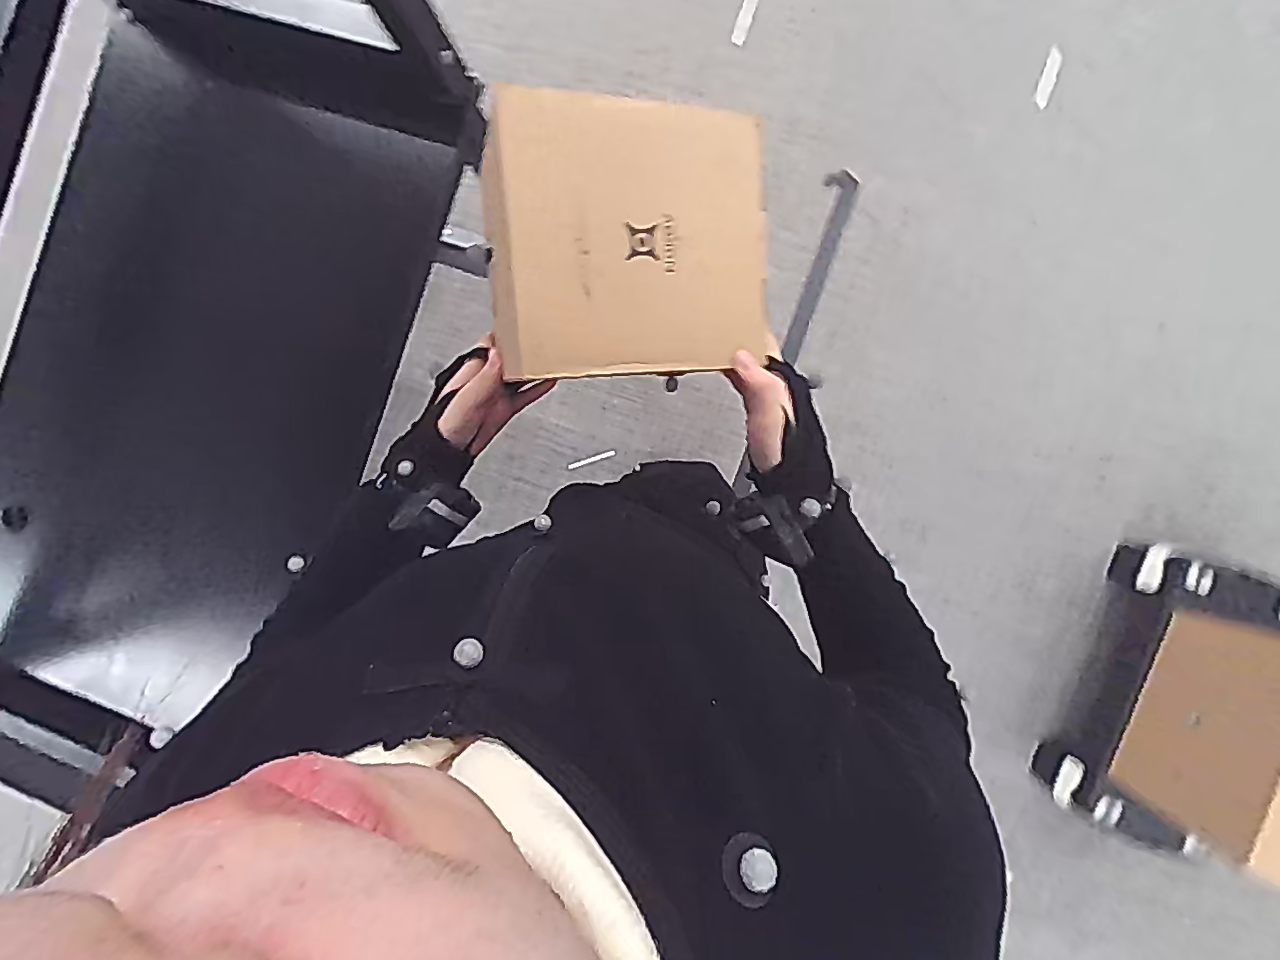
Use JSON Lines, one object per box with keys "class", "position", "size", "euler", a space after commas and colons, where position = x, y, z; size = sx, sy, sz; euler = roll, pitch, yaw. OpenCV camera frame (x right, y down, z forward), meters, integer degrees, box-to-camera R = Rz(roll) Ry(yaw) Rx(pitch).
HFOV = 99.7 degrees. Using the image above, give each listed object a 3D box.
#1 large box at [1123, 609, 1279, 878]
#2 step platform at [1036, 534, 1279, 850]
{"class": "large box", "position": [1.249, 0.514, 1.029], "size": [0.320, 0.320, 0.408], "euler": [20, 91, 5]}
{"class": "step platform", "position": [1.257, 0.479, 1.269], "size": [0.286, 0.204, 0.684], "euler": [25, 91, 5]}
